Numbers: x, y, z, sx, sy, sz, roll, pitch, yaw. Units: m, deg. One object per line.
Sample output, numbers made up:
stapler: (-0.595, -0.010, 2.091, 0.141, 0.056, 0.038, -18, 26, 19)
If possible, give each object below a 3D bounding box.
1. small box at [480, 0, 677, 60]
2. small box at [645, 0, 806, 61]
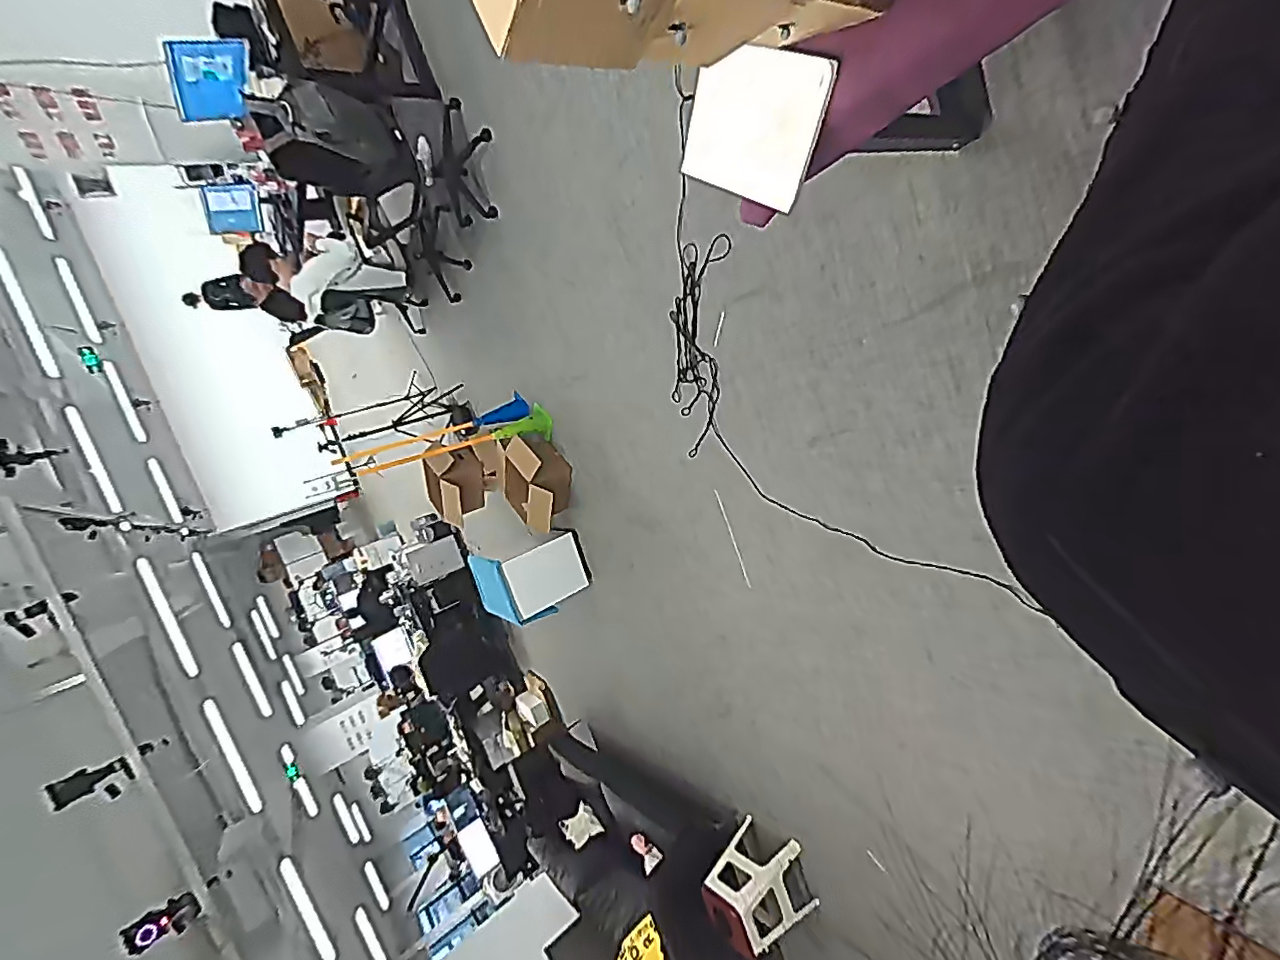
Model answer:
small box: (-0.059, -0.530, 0.496, 0.168, 0.176, 0.179, -23, 90, 59)
small box: (0.072, -0.584, 0.579, 0.179, 0.176, 0.168, 14, 121, 52)
